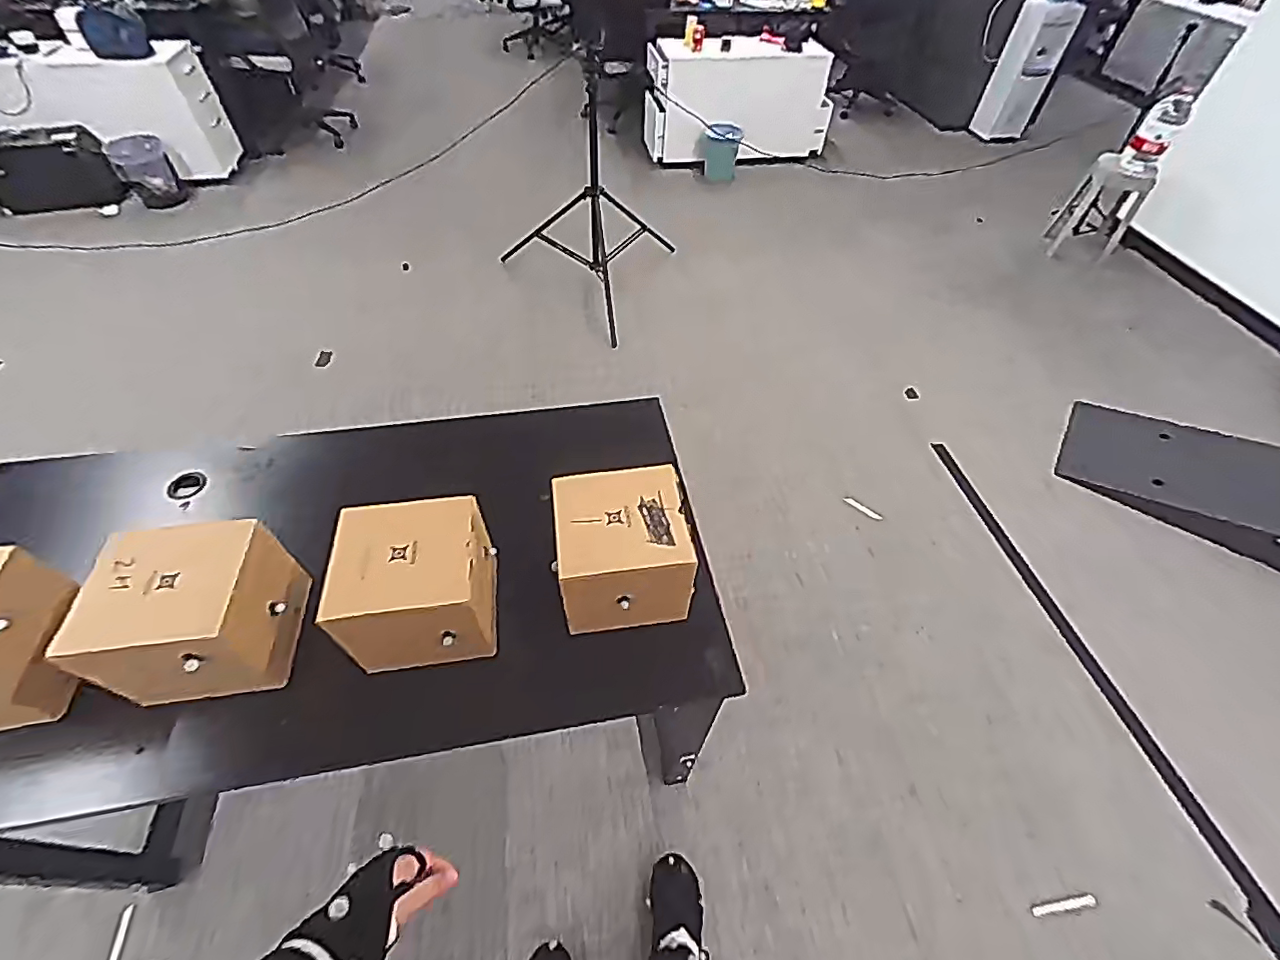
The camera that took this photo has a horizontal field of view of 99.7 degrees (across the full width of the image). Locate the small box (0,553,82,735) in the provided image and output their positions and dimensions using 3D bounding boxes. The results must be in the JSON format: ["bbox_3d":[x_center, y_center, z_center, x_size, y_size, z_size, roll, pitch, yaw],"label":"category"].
[{"bbox_3d":[-0.842,0.215,0.668,0.179,0.176,0.168,-9,52,-9],"label":"small box"}]

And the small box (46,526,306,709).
[{"bbox_3d":[-0.573,0.181,0.706,0.179,0.176,0.168,-6,51,-7],"label":"small box"}]

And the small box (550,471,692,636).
[{"bbox_3d":[-0.032,0.109,0.784,0.179,0.176,0.168,-7,51,-6],"label":"small box"}]

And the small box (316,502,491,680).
[{"bbox_3d":[-0.304,0.153,0.741,0.179,0.176,0.168,-7,49,-9],"label":"small box"}]
